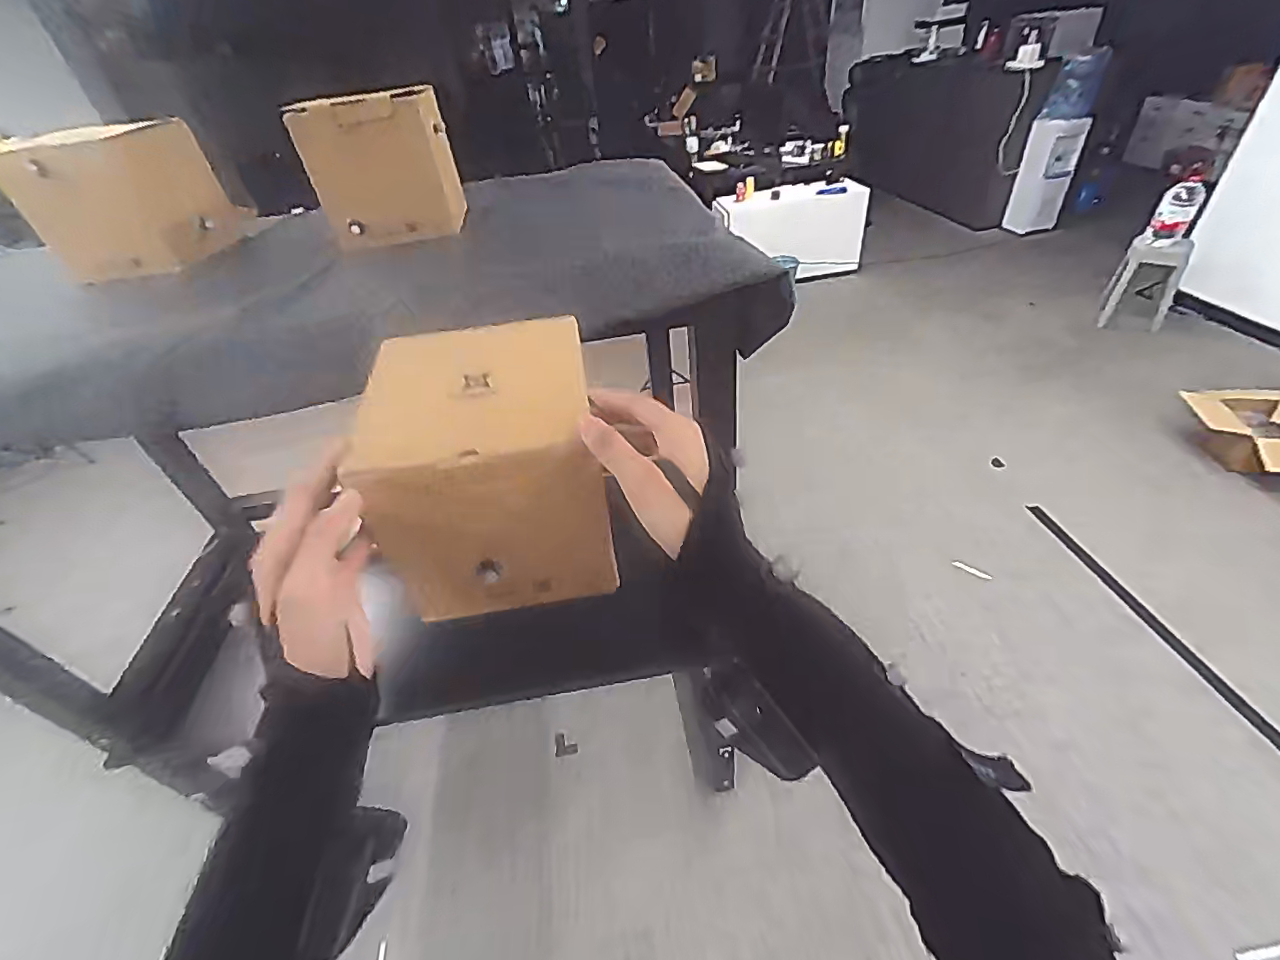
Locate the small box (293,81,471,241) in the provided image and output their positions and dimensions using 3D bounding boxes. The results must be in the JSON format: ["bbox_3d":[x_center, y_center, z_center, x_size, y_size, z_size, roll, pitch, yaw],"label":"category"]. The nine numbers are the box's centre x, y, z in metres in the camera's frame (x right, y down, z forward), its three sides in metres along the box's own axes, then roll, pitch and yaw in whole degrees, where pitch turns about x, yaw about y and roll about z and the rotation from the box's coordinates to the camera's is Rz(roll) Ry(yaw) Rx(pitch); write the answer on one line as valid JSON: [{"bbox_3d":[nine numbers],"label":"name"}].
[{"bbox_3d":[-0.354,-0.458,0.784,0.168,0.176,0.179,-10,39,-4],"label":"small box"}]

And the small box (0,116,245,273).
[{"bbox_3d":[-0.729,-0.418,0.792,0.168,0.176,0.179,-6,40,1],"label":"small box"}]

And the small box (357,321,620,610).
[{"bbox_3d":[-0.112,-0.015,0.468,0.168,0.176,0.179,-8,44,-5],"label":"small box"}]
